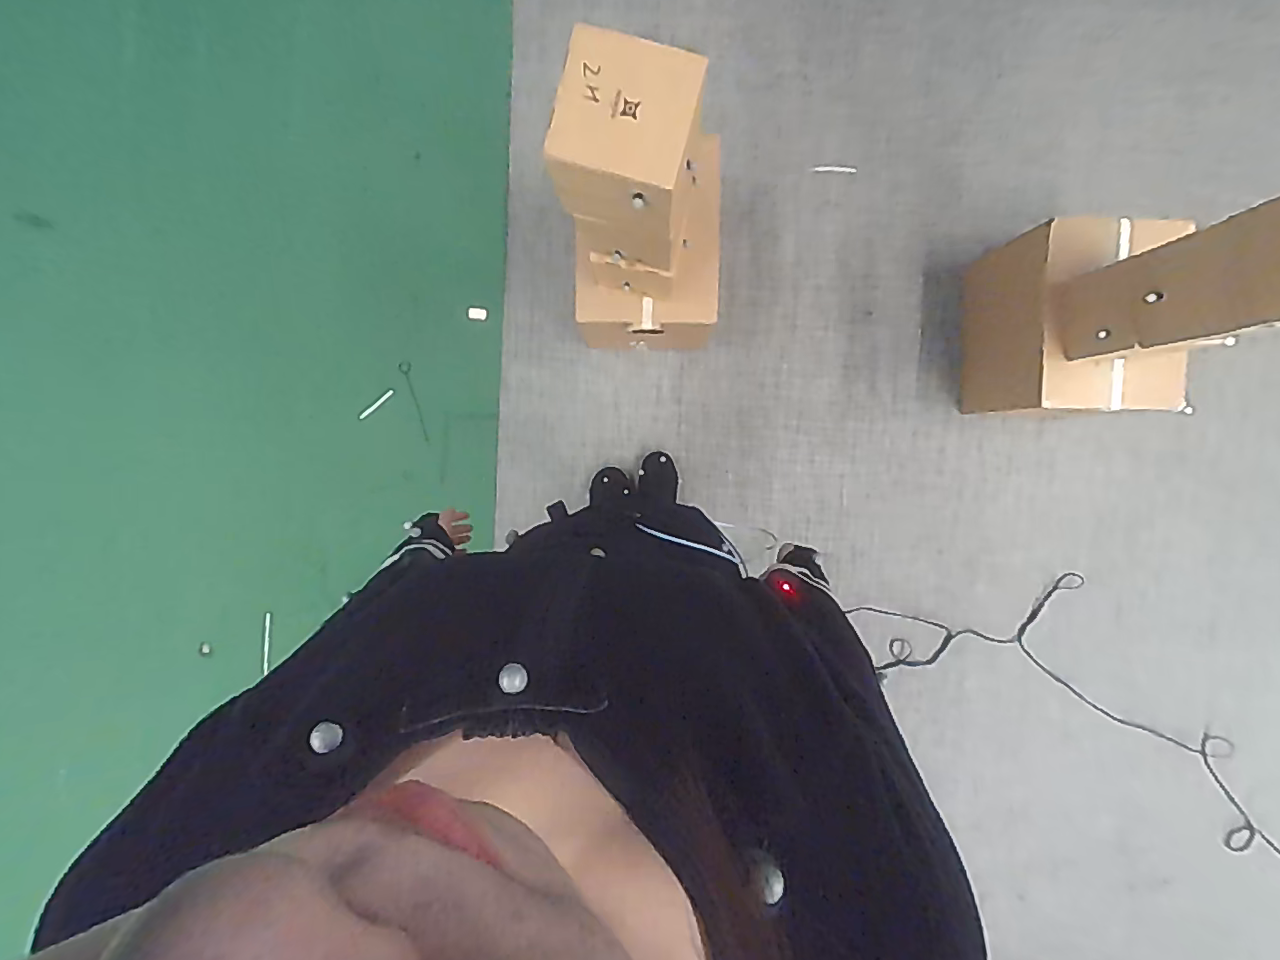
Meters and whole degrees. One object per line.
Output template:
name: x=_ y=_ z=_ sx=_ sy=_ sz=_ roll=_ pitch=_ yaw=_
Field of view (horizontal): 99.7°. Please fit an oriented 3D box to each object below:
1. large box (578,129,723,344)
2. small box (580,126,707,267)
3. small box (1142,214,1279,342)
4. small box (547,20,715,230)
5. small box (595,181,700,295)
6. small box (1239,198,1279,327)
large box: x=0.028 y=-0.560 z=1.317 sx=0.320 sy=0.320 sz=0.408 roll=1 pitch=93 yaw=1
small box: x=0.005 y=-0.490 z=0.917 sx=0.168 sy=0.176 sz=0.179 roll=16 pitch=95 yaw=1
small box: x=0.998 y=-0.335 z=0.907 sx=0.168 sy=0.176 sz=0.179 roll=-7 pitch=95 yaw=3
small box: x=-0.009 y=-0.474 z=0.753 sx=0.179 sy=0.176 sz=0.168 roll=17 pitch=94 yaw=1
small box: x=0.014 y=-0.492 z=1.079 sx=0.168 sy=0.176 sz=0.179 roll=12 pitch=95 yaw=1
small box: x=0.991 y=-0.324 z=0.742 sx=0.168 sy=0.176 sz=0.179 roll=-8 pitch=94 yaw=3
